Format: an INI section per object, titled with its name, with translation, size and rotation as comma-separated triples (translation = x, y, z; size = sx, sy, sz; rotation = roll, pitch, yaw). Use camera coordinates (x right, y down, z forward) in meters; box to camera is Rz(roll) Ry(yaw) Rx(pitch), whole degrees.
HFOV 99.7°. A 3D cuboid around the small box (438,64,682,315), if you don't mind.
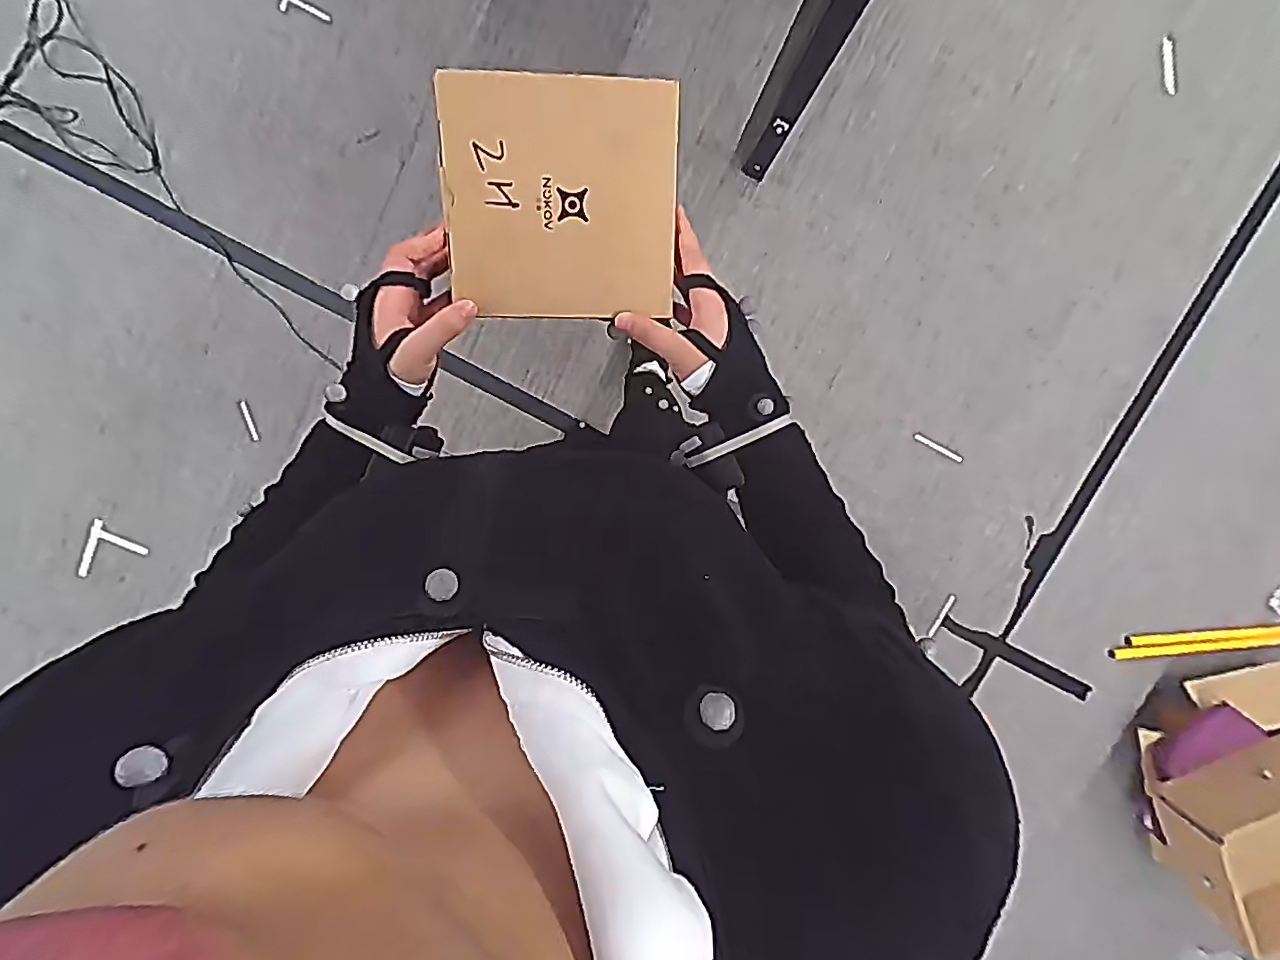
[small box]
translation = -0.064, -0.236, 0.483
size = 0.179, 0.176, 0.168
rotation = 0, 107, -4
